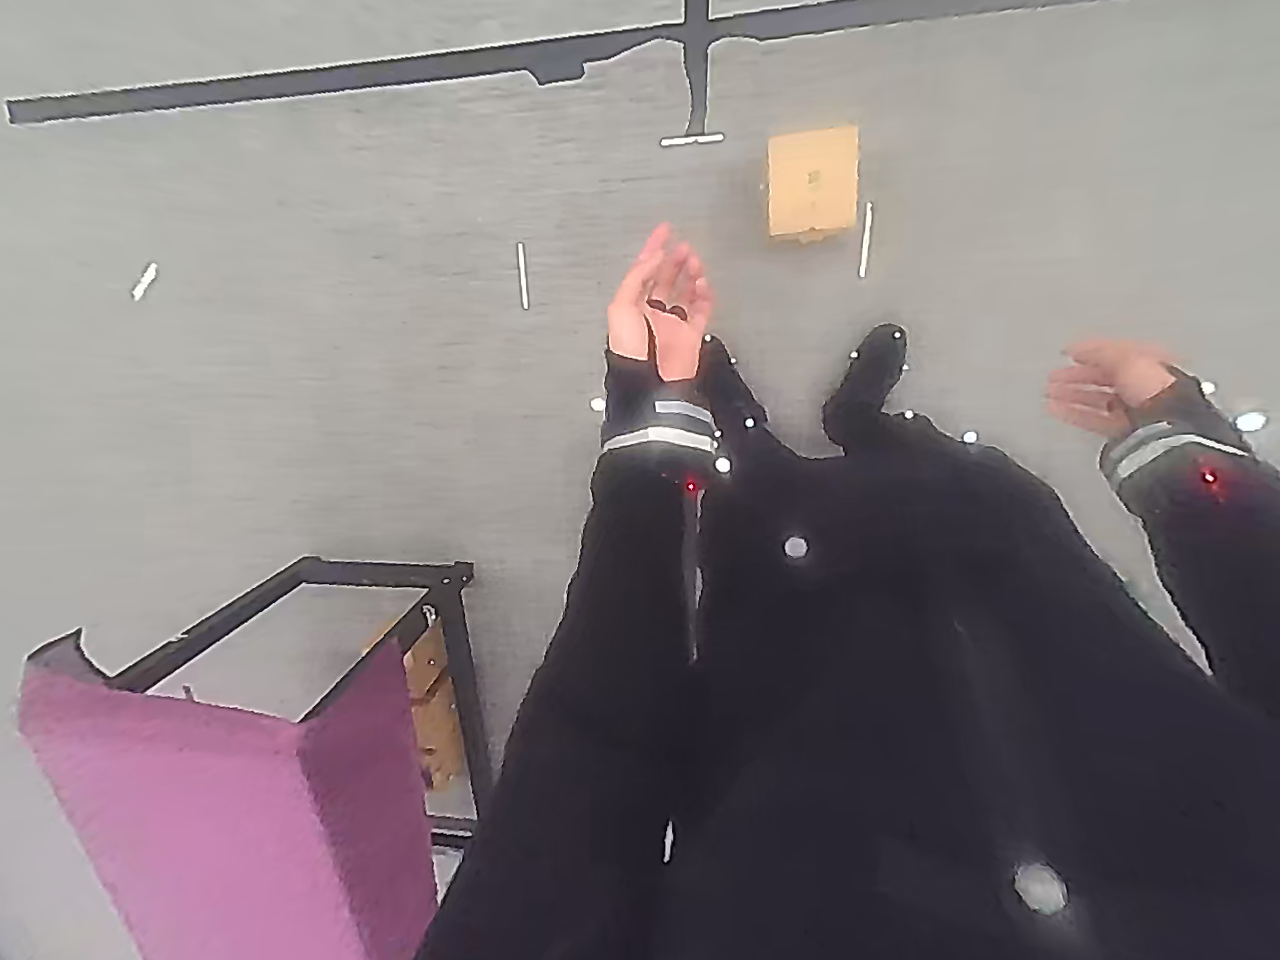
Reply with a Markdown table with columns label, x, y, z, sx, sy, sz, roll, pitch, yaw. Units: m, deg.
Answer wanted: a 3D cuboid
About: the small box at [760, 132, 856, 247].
| label | x | y | z | sx | sy | sz | roll | pitch | yaw |
| --- | --- | --- | --- | --- | --- | --- | --- | --- | --- |
| small box | 0.338 | -0.586 | 1.112 | 0.168 | 0.176 | 0.179 | -2 | 110 | 10 |
